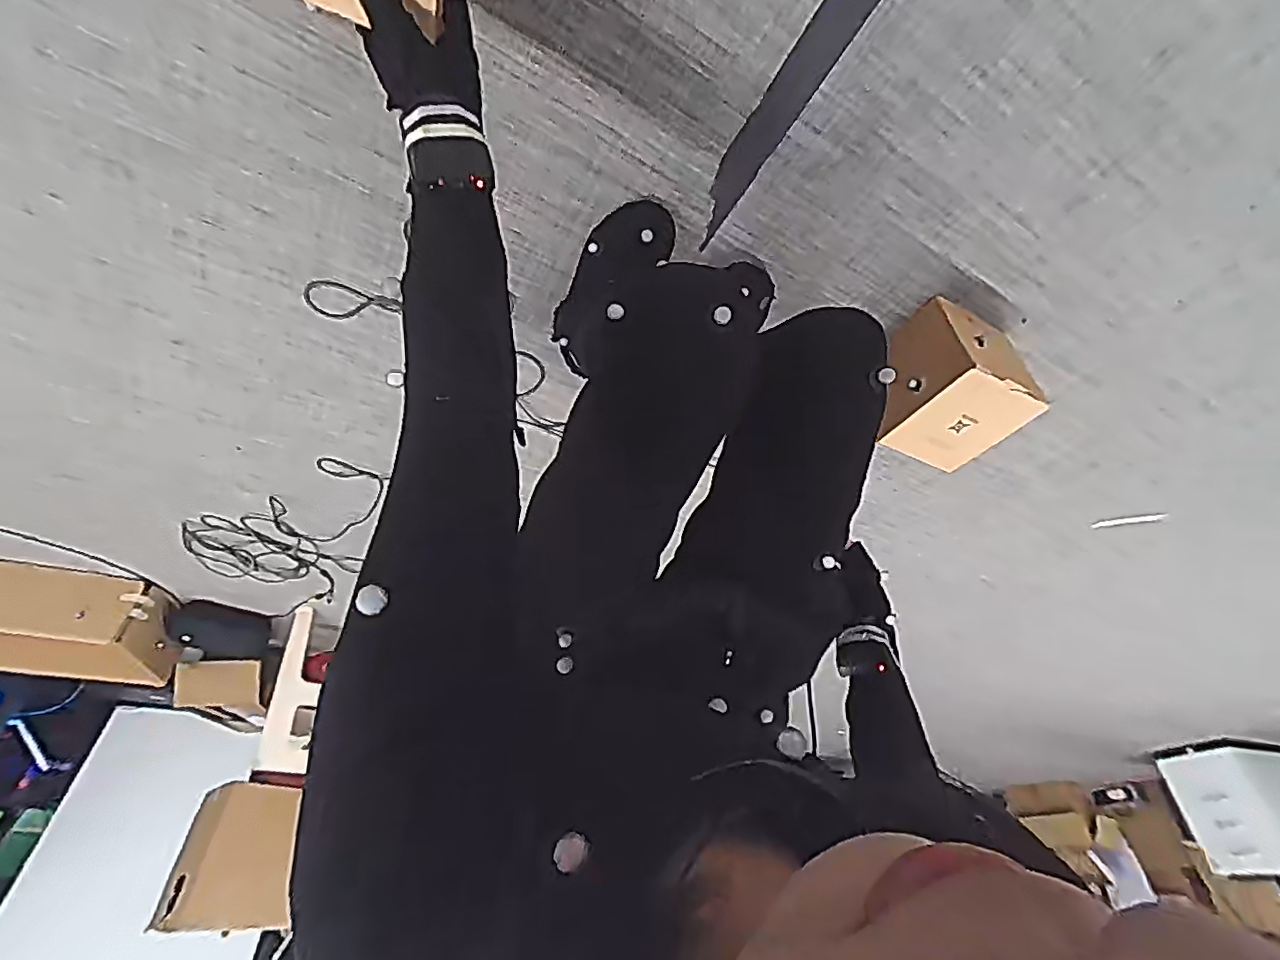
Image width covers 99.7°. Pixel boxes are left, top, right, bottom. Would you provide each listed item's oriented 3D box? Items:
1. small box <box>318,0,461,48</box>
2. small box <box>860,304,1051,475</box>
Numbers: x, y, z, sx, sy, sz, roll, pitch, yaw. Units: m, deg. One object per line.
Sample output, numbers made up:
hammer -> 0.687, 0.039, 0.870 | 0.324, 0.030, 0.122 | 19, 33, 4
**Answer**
small box -> -0.217, -0.485, 0.407 | 0.168, 0.176, 0.179 | 14, 141, -17
small box -> 0.477, -0.141, 0.848 | 0.168, 0.176, 0.179 | 18, 139, -20
